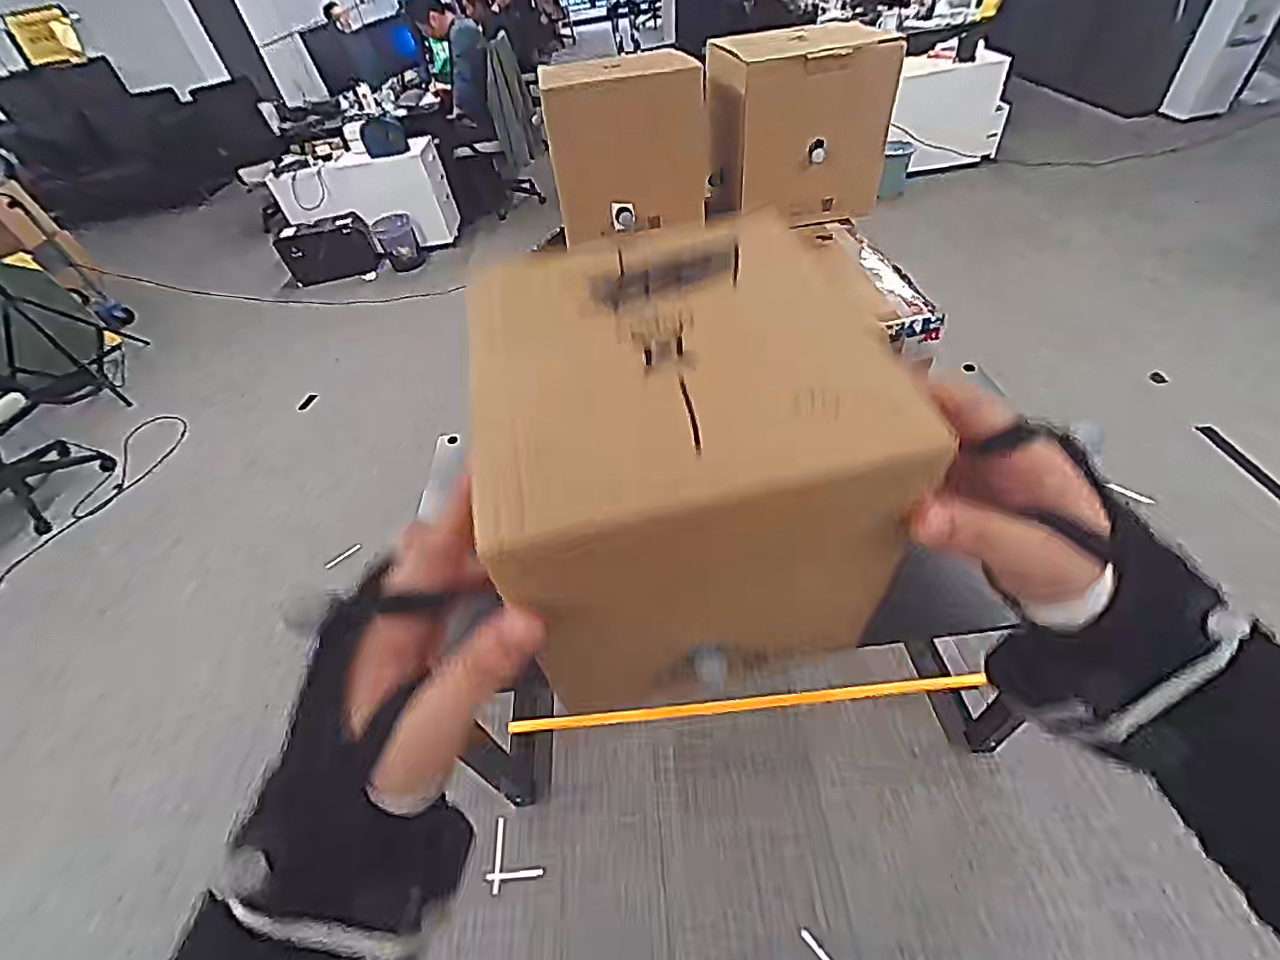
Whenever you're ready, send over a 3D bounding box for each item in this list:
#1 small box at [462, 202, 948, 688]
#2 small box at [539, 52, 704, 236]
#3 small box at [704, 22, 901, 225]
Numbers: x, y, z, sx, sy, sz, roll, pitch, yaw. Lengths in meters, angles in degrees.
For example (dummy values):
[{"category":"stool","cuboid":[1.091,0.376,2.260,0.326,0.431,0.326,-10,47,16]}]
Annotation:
[{"category":"small box","cuboid":[0.014,-0.016,0.289,0.168,0.176,0.179,-12,52,-4]},{"category":"small box","cuboid":[-0.022,-0.389,0.648,0.168,0.176,0.179,-11,44,-2]},{"category":"small box","cuboid":[0.176,-0.418,0.646,0.168,0.176,0.179,-9,46,-3]}]
